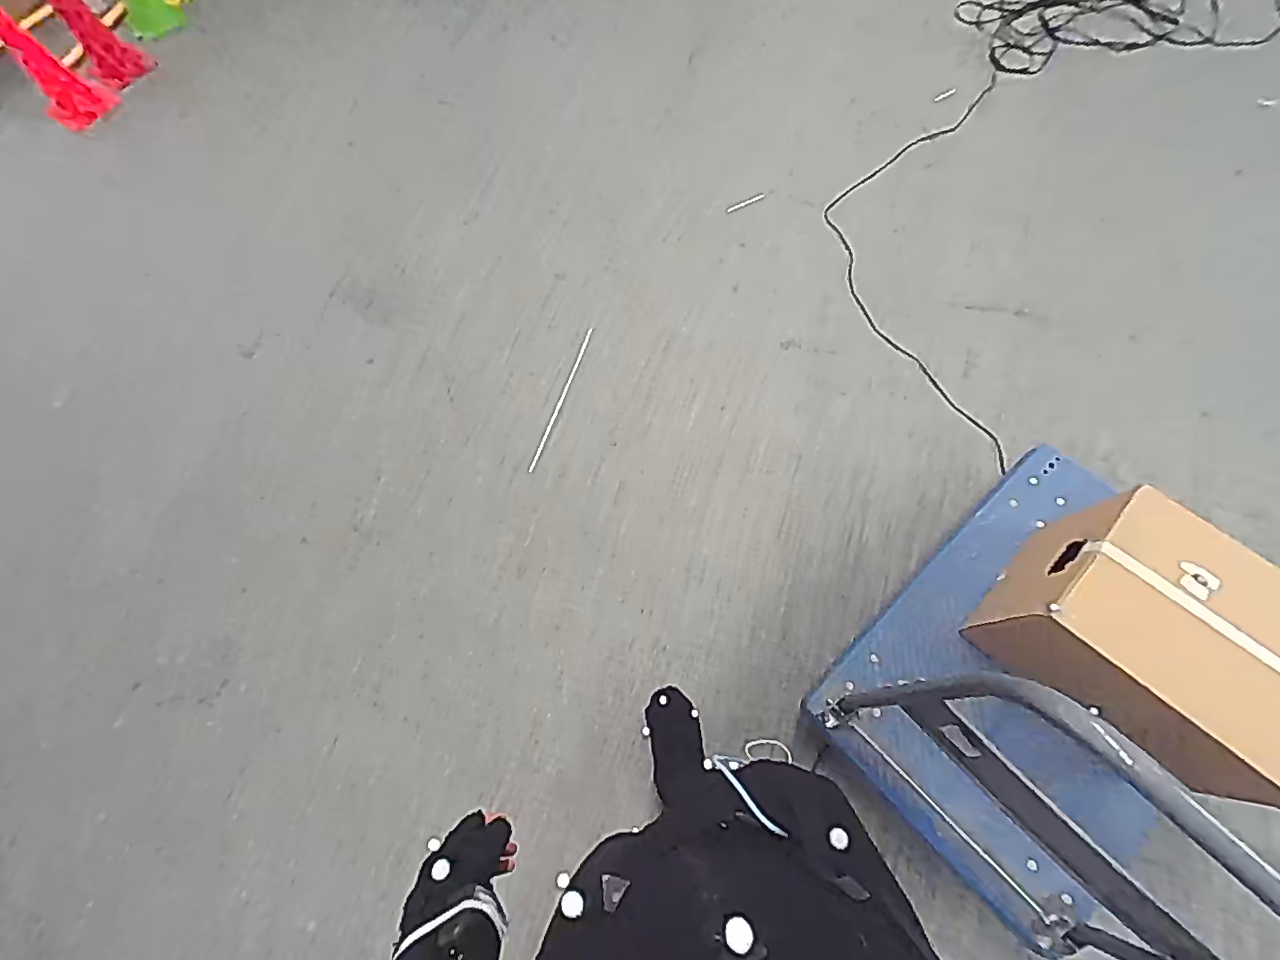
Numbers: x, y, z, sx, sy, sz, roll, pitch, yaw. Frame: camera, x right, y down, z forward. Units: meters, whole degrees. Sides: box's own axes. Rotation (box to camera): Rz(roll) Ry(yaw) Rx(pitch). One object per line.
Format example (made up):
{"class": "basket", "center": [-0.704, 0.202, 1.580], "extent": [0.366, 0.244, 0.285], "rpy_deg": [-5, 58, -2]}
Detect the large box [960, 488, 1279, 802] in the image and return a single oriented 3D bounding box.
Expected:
{"class": "large box", "center": [0.908, 0.290, 0.982], "extent": [0.408, 0.320, 0.320], "rpy_deg": [40, 76, 17]}
